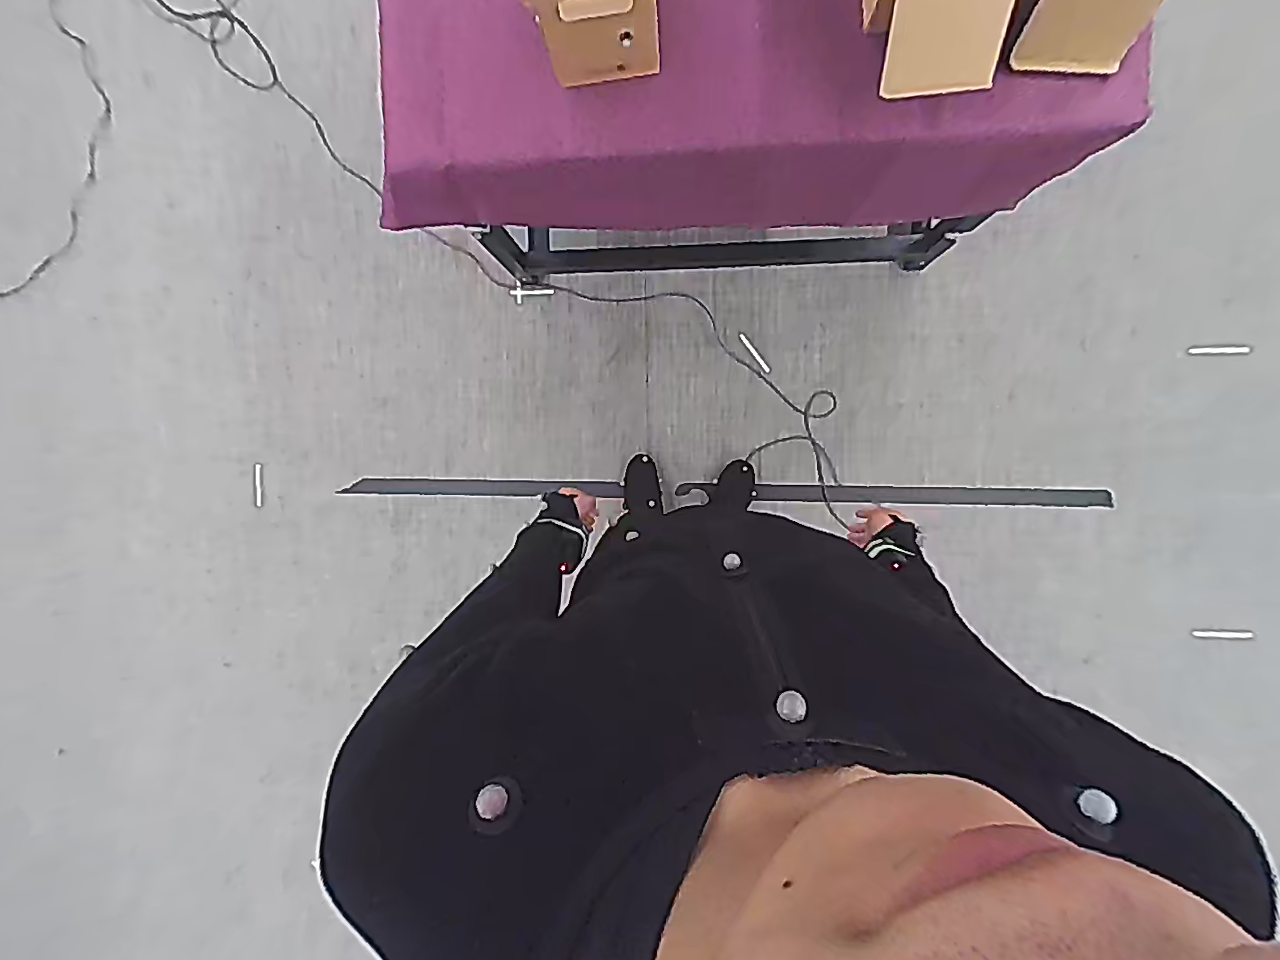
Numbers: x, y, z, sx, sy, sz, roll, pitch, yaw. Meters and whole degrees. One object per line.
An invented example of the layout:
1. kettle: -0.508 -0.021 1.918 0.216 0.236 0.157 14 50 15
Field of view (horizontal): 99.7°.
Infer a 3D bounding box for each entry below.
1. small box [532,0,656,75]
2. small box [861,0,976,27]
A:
1. small box: -0.066 -0.744 0.804 0.168 0.176 0.179 -5 92 4
2. small box: 0.417 -0.796 0.760 0.168 0.176 0.179 -3 93 5
